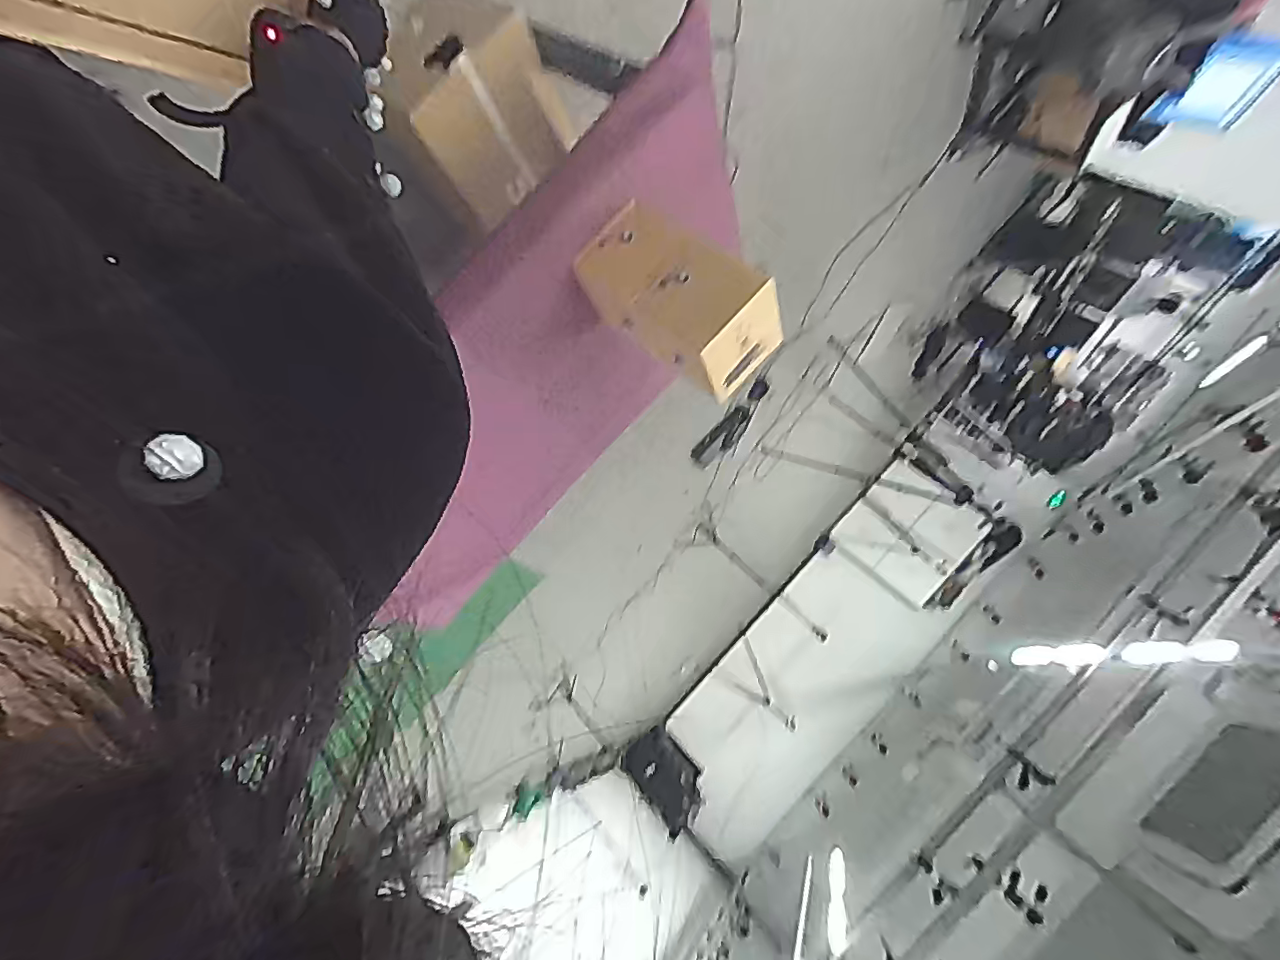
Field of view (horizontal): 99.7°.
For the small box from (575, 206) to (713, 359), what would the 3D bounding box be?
[{"bbox_3d":[0.011,-0.369,1.012,0.168,0.176,0.179,-46,153,-3],"label":"small box"}]
